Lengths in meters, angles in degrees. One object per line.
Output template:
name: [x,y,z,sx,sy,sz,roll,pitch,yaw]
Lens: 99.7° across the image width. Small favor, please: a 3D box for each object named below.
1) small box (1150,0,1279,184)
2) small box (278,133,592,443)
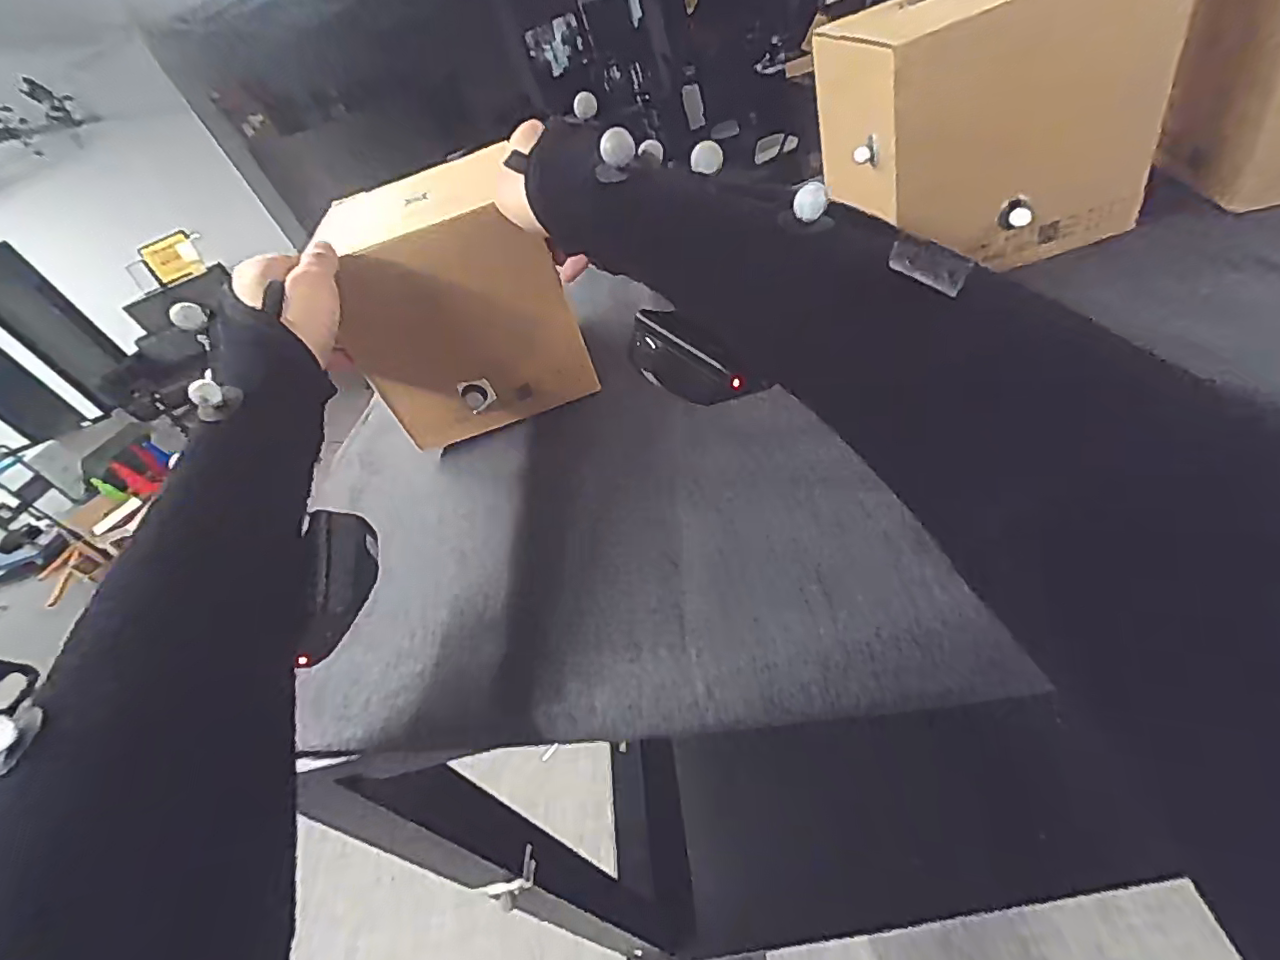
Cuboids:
small box: [0.459,-0.306,0.327,0.179,0.176,0.168,-6,42,20]
small box: [-0.152,-0.162,0.456,0.168,0.176,0.179,-20,43,0]
